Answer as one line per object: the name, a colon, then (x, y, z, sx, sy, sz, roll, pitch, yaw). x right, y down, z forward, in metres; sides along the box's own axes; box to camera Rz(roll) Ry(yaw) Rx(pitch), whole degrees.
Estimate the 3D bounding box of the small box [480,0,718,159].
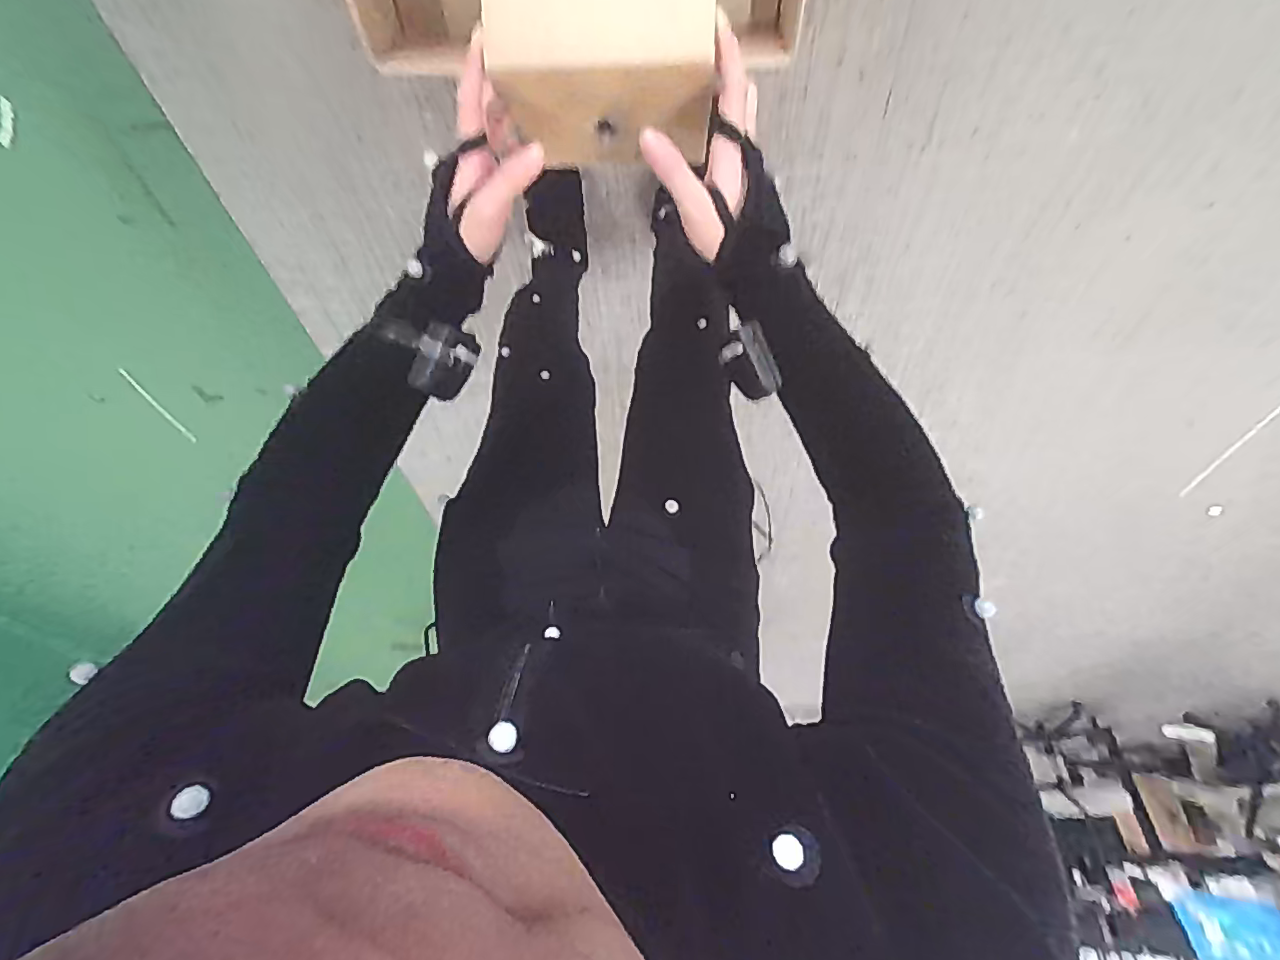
small box: (-0.021, -0.381, 0.435, 0.168, 0.176, 0.179, 1, 99, 3)
